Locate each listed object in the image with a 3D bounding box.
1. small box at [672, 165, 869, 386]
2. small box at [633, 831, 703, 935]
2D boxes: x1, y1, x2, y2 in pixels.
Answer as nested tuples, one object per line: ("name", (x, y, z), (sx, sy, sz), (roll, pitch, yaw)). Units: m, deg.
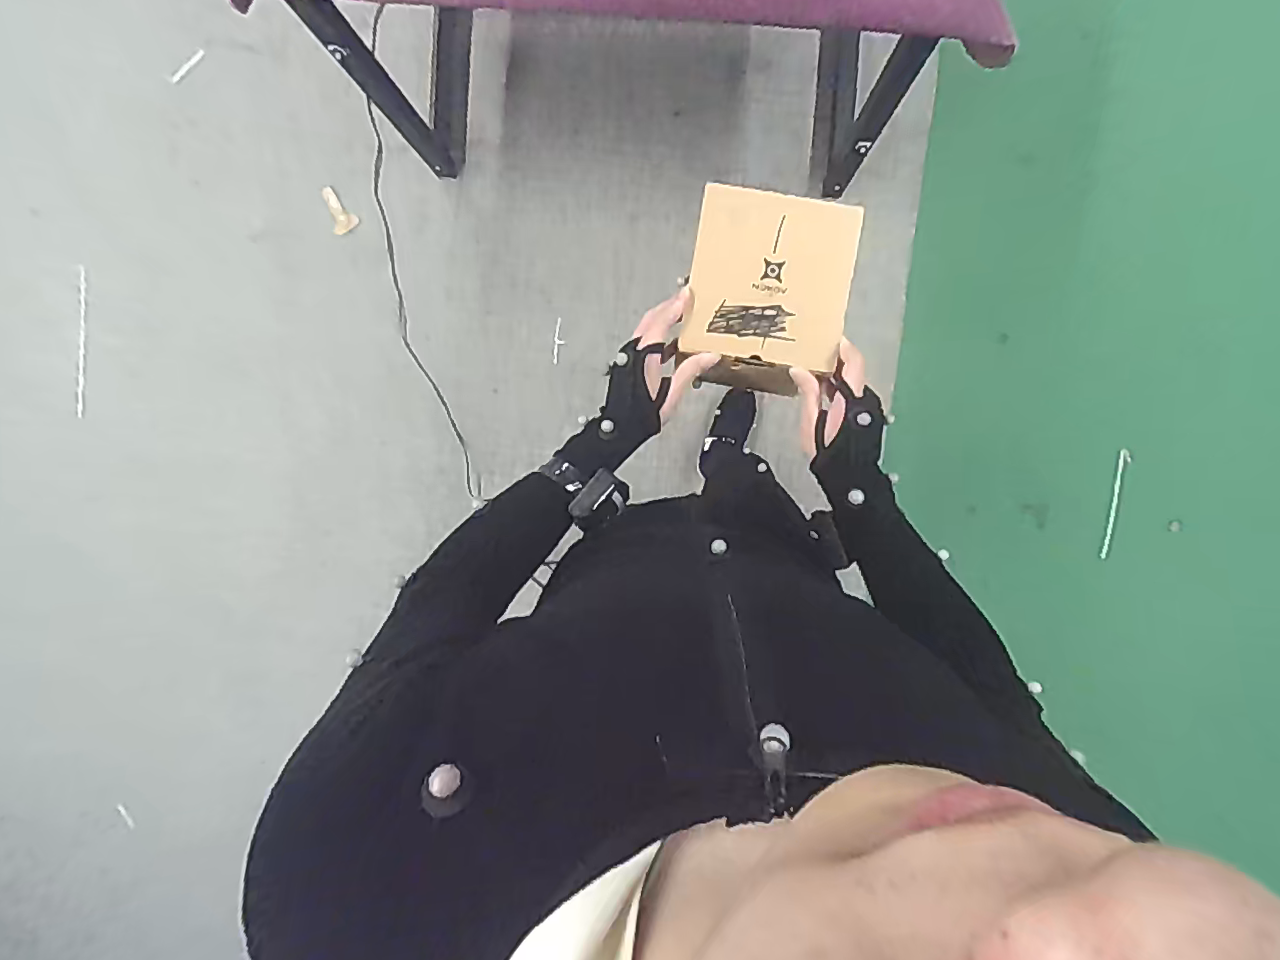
("small box", (0.133, -0.214, 0.615), (0.168, 0.176, 0.179), (11, 91, 2))
("small box", (0.082, 1.177, 1.593), (0.179, 0.176, 0.168), (10, 94, 3))
